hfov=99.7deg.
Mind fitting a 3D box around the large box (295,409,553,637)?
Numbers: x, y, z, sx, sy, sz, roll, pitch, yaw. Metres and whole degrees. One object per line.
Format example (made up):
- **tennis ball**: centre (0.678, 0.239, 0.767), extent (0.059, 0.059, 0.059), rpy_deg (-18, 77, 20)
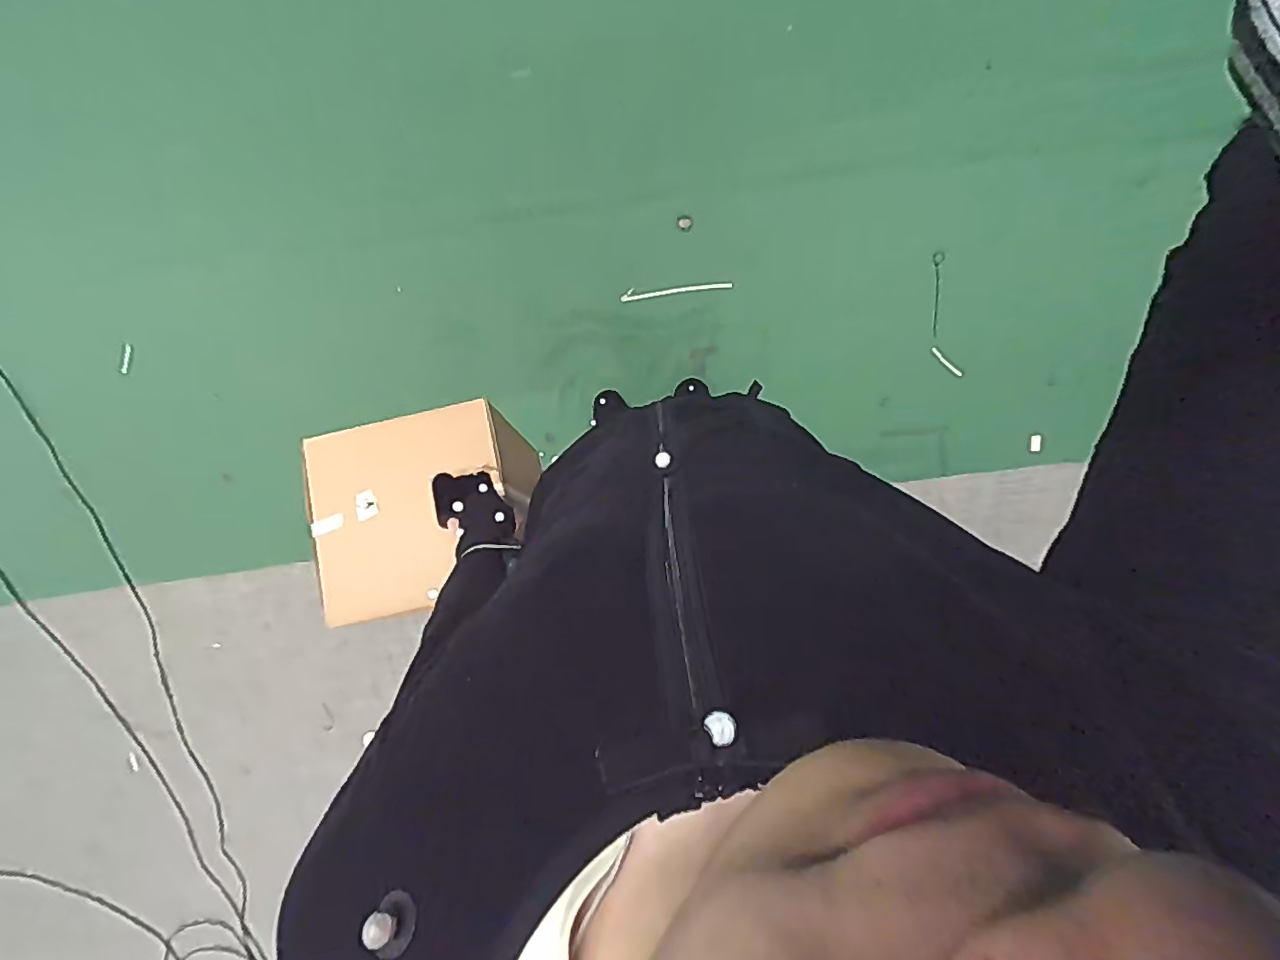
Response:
- **large box**: centre (-0.379, 0.094, 1.045), extent (0.320, 0.408, 0.320), rpy_deg (-13, 80, -2)
